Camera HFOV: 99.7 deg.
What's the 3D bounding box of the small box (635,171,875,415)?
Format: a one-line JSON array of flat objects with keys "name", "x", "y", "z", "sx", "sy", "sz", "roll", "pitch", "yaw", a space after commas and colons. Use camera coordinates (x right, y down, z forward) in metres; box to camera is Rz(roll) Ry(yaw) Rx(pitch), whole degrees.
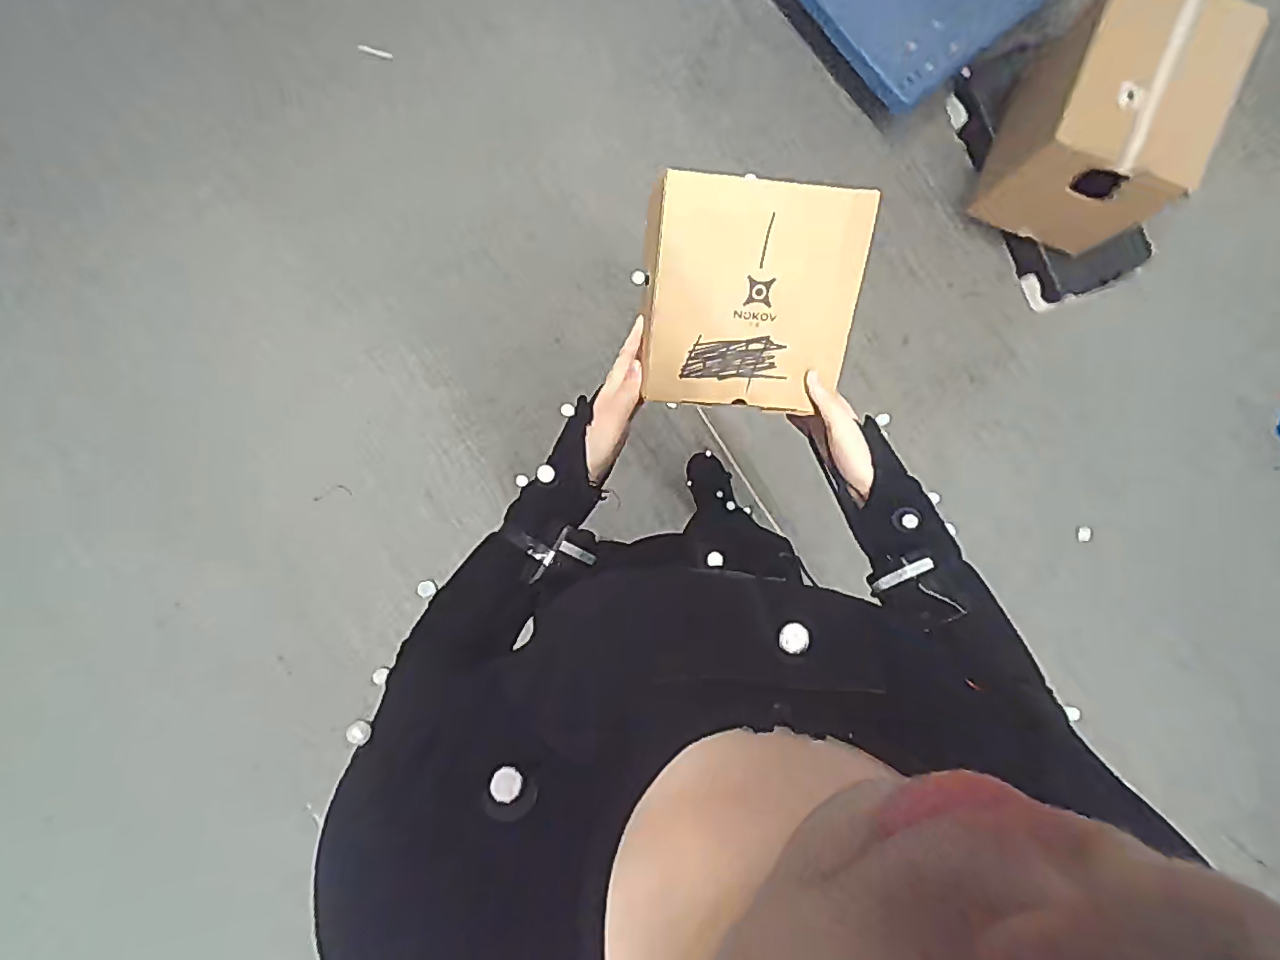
[{"name": "small box", "x": 0.085, "y": -0.172, "z": 0.504, "sx": 0.168, "sy": 0.176, "sz": 0.179, "roll": 3, "pitch": 113, "yaw": -5}]
